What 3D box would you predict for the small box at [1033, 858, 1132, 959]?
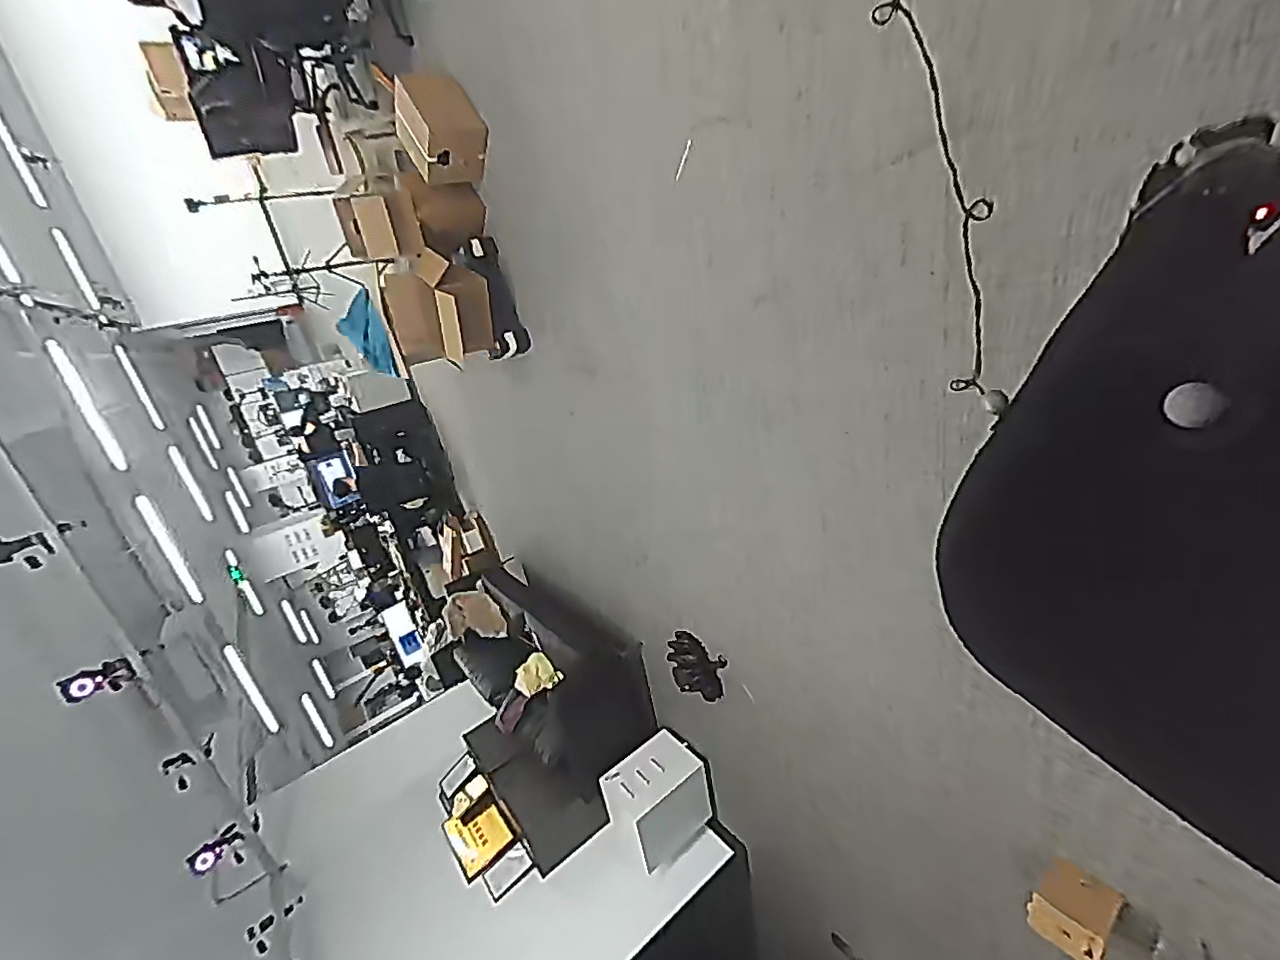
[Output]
[{"bbox_3d":[1.323,1.282,1.619,0.179,0.176,0.168,20,128,50],"label":"small box"}]
